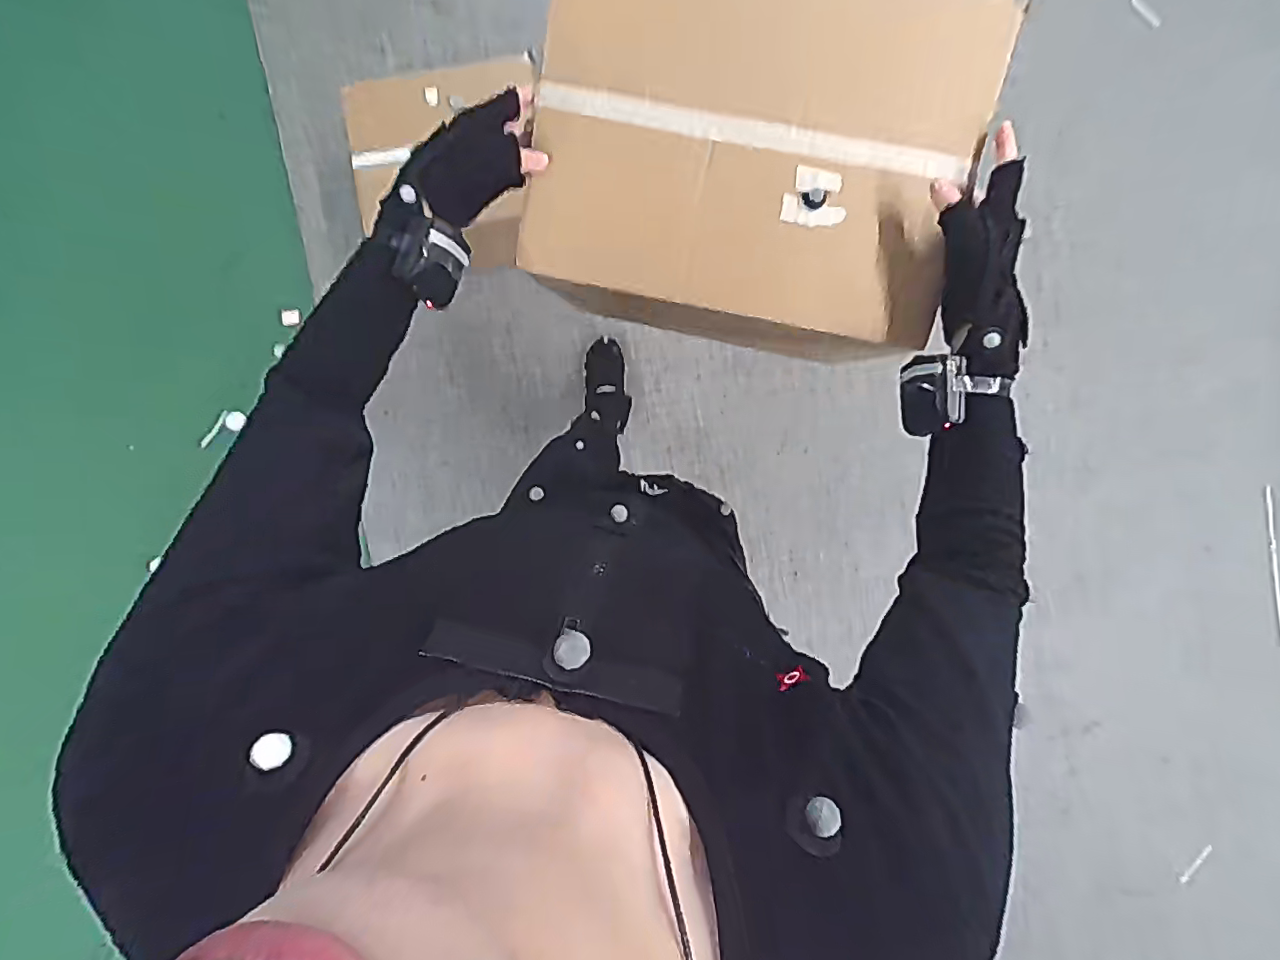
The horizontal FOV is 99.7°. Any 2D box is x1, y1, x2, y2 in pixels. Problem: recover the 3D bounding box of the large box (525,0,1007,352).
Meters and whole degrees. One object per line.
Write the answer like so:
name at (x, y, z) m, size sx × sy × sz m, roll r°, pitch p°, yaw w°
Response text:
large box at (0.111, -0.353, 0.652) m, size 0.408 × 0.320 × 0.320 m, roll 12°, pitch 101°, yaw 0°
